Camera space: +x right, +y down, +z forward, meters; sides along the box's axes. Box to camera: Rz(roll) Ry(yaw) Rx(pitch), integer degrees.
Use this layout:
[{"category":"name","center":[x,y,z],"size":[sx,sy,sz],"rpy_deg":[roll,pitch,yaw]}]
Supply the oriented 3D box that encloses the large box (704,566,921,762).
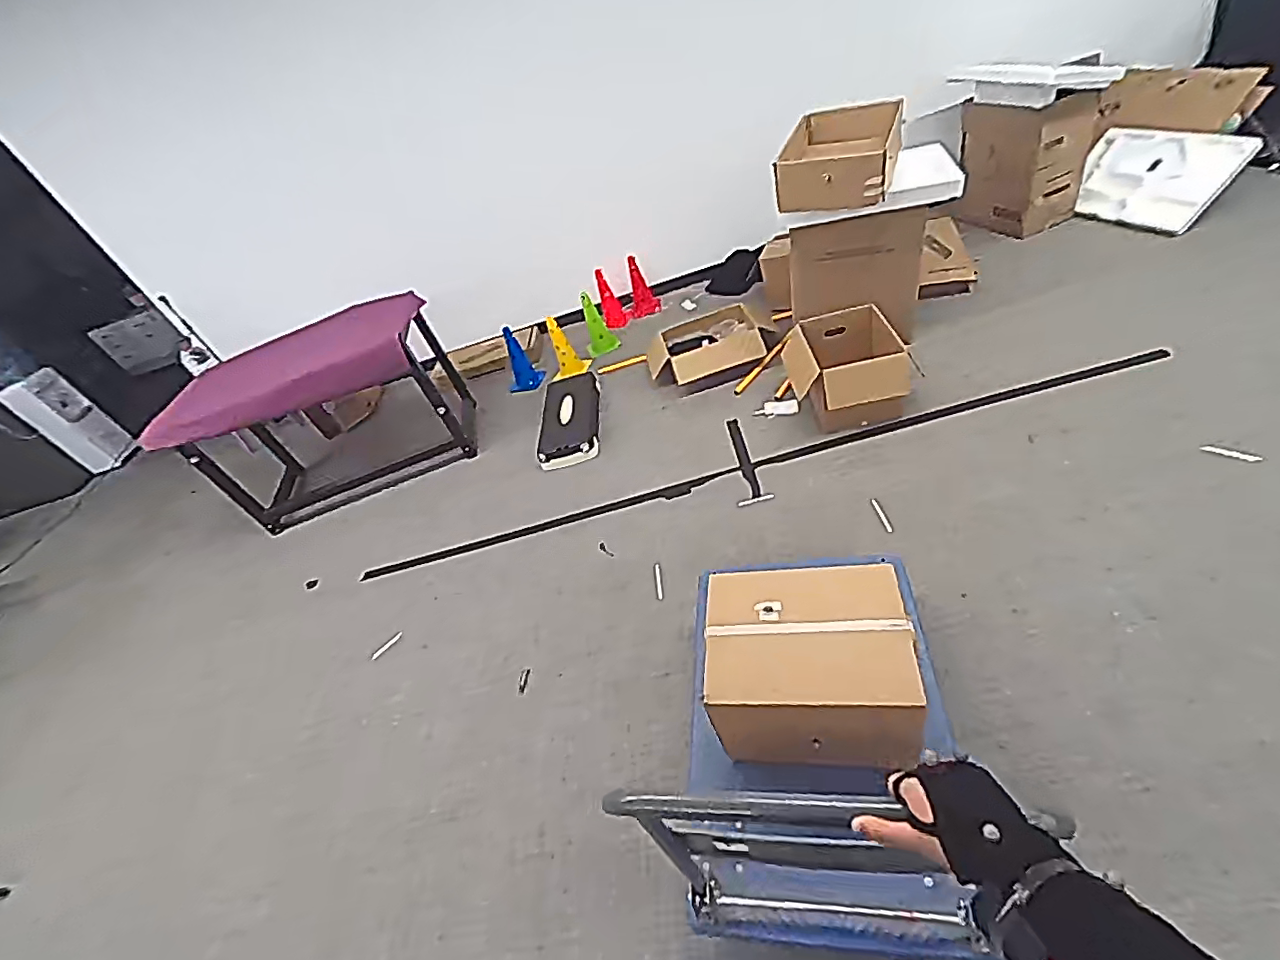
[{"category":"large box","center":[0.379,0.426,1.228],"size":[0.408,0.320,0.320],"rpy_deg":[-8,41,17]}]
